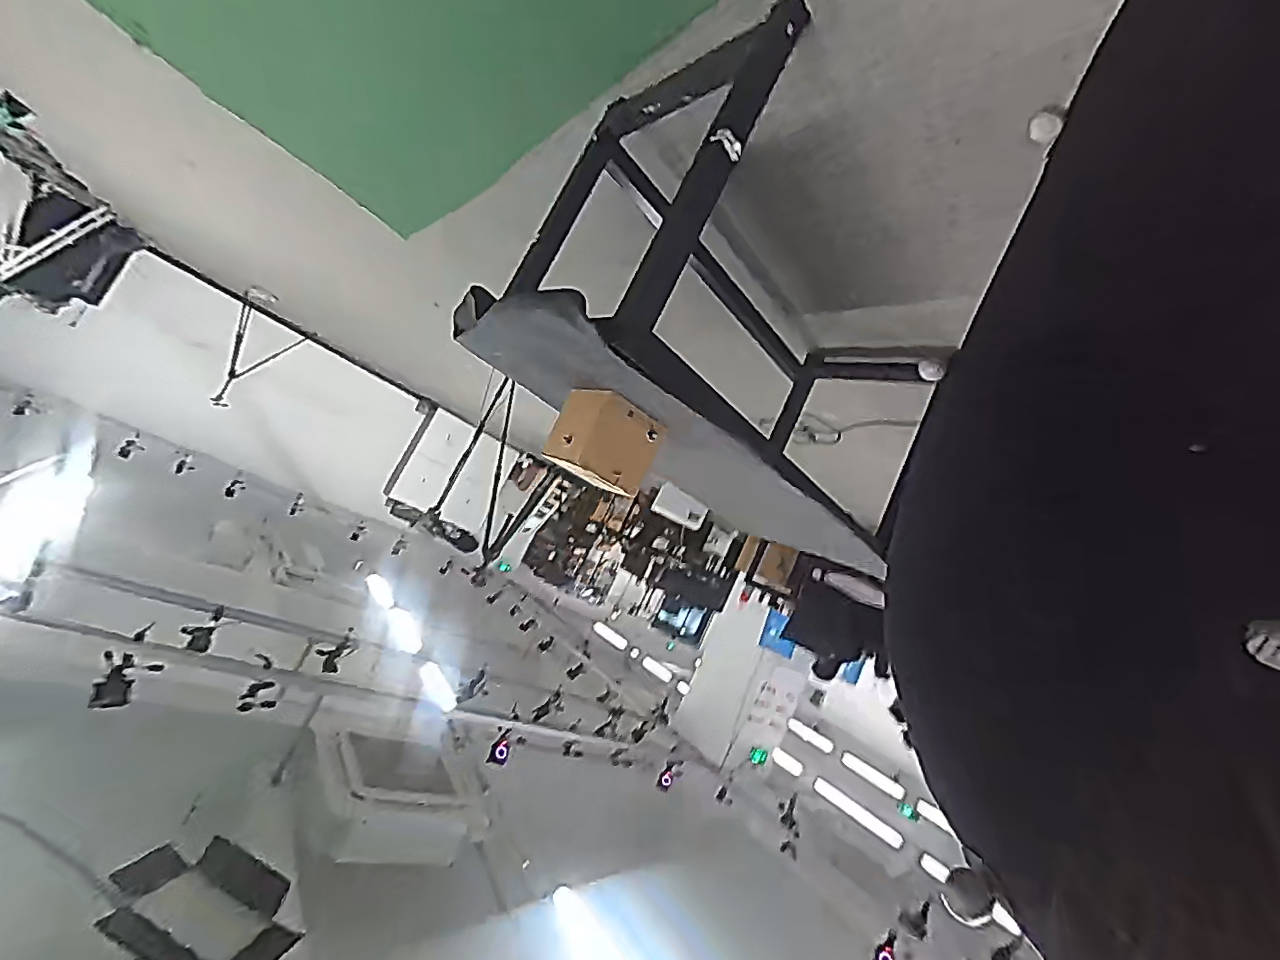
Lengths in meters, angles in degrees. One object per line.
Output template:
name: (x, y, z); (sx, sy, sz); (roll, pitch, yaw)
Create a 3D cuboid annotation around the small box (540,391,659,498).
small box: (-0.082, -0.081, 1.169); (0.168, 0.176, 0.179); (32, 171, -35)
